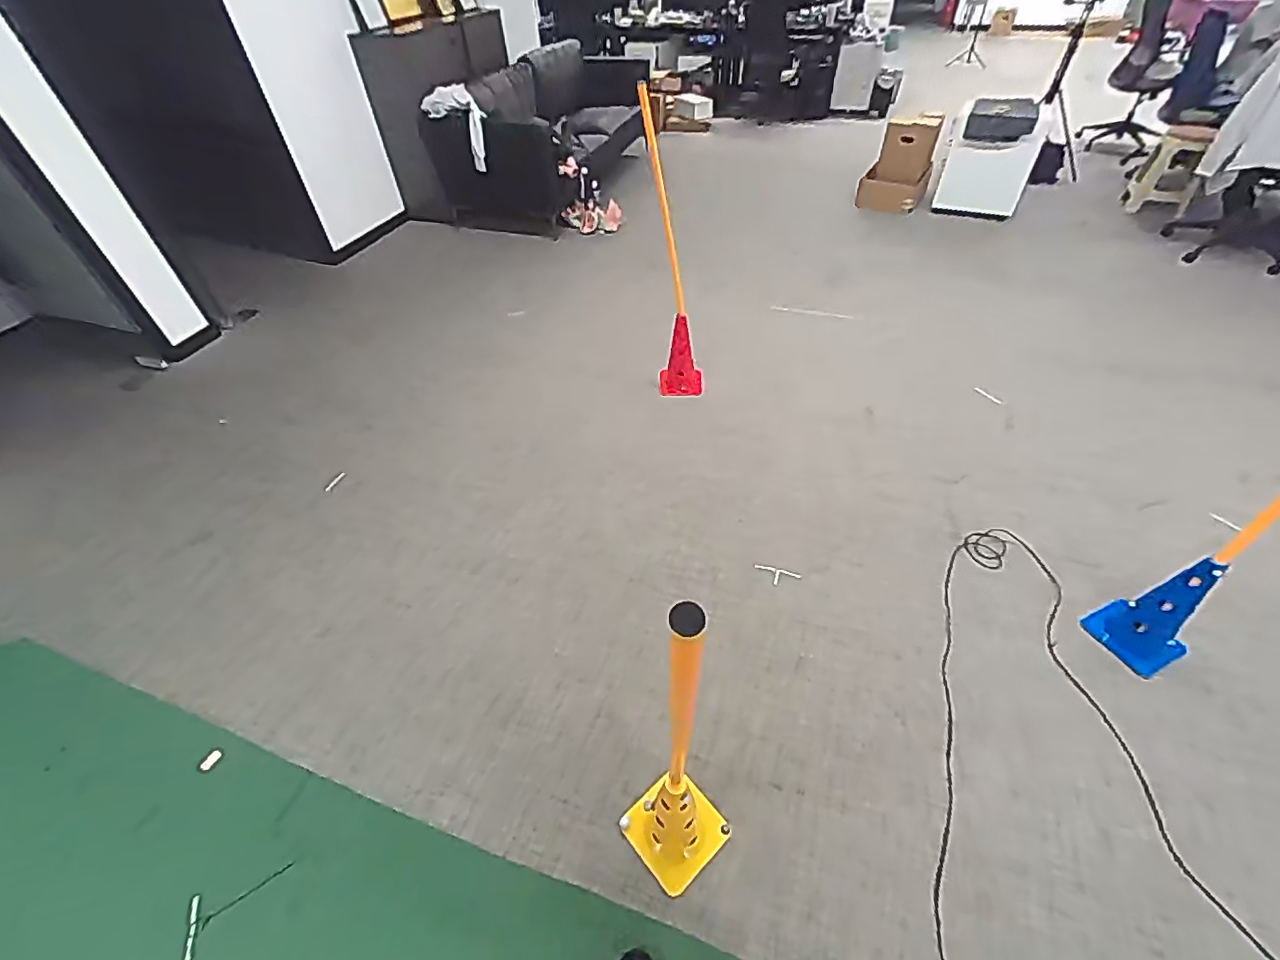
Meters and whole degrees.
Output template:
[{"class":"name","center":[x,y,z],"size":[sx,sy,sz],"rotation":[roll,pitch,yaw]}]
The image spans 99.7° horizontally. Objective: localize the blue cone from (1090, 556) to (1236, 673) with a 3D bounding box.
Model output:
[{"class":"blue cone","center":[1.437,0.329,1.458],"size":[0.193,0.380,0.192],"rotation":[-19,46,-18]}]
